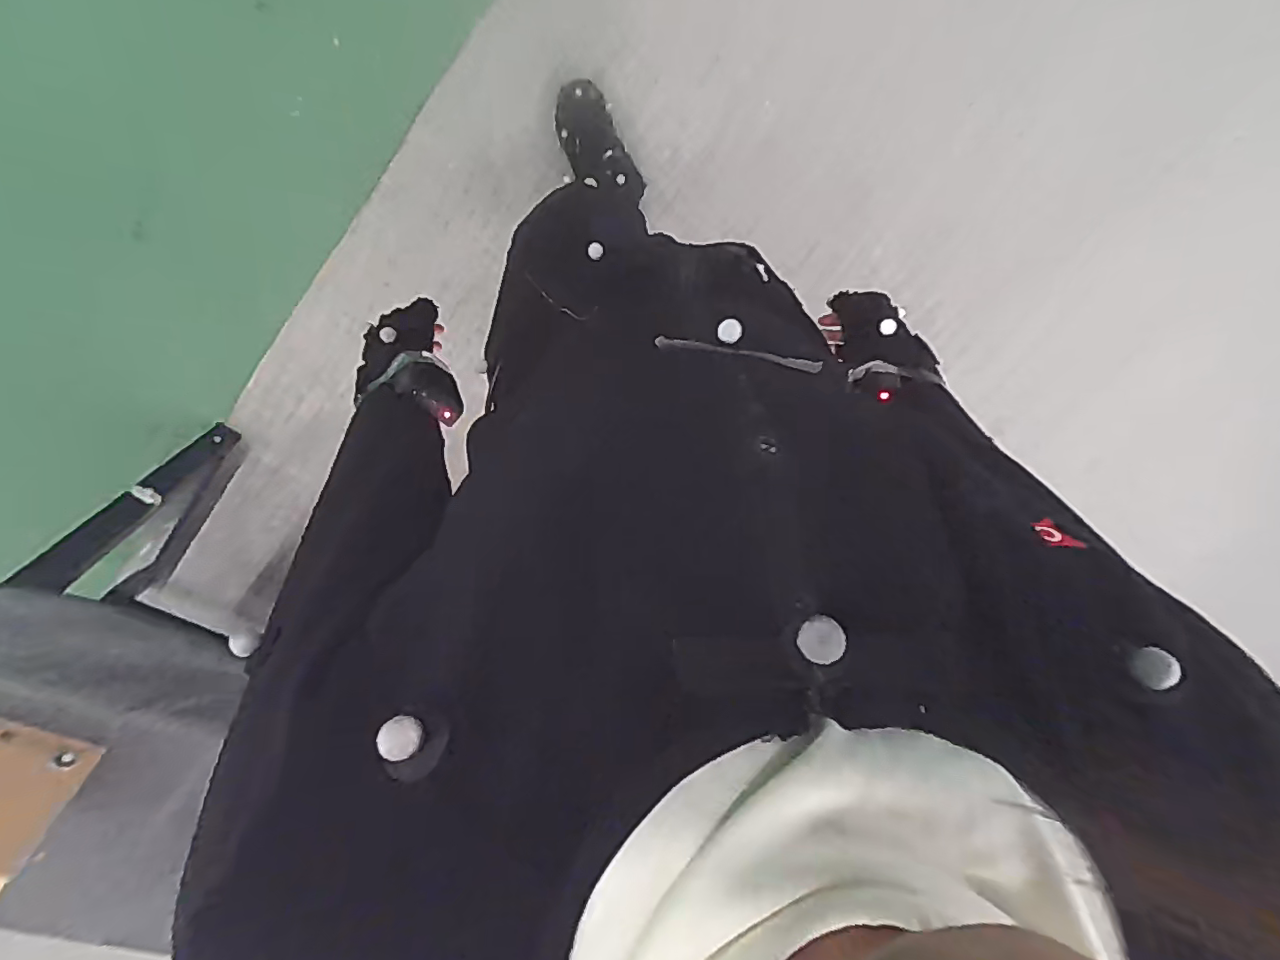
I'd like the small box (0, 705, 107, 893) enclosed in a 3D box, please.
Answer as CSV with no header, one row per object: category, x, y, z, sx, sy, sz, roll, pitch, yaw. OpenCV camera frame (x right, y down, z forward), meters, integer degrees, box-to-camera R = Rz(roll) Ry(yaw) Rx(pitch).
small box,-0.850,0.418,0.691,0.168,0.176,0.179,37,110,-26
